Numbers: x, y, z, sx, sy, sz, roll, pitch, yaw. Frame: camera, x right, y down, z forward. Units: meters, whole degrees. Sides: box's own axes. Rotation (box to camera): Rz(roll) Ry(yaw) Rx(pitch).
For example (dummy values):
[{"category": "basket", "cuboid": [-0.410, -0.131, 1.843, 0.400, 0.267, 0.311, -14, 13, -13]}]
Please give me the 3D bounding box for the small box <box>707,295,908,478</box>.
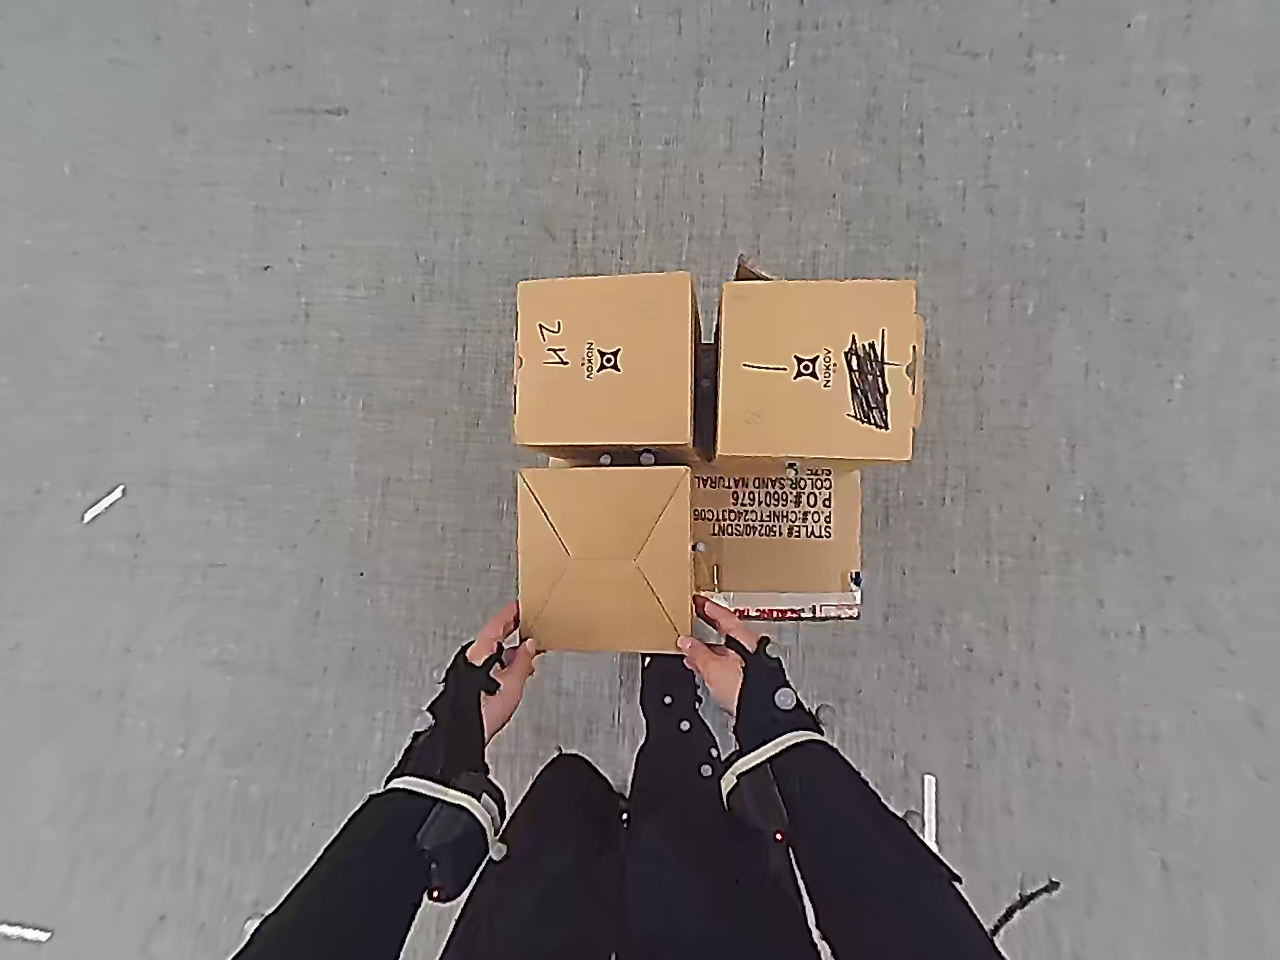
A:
[{"category": "small box", "cuboid": [0.165, -0.089, 0.583, 0.179, 0.176, 0.168, 2, 88, 6]}]
